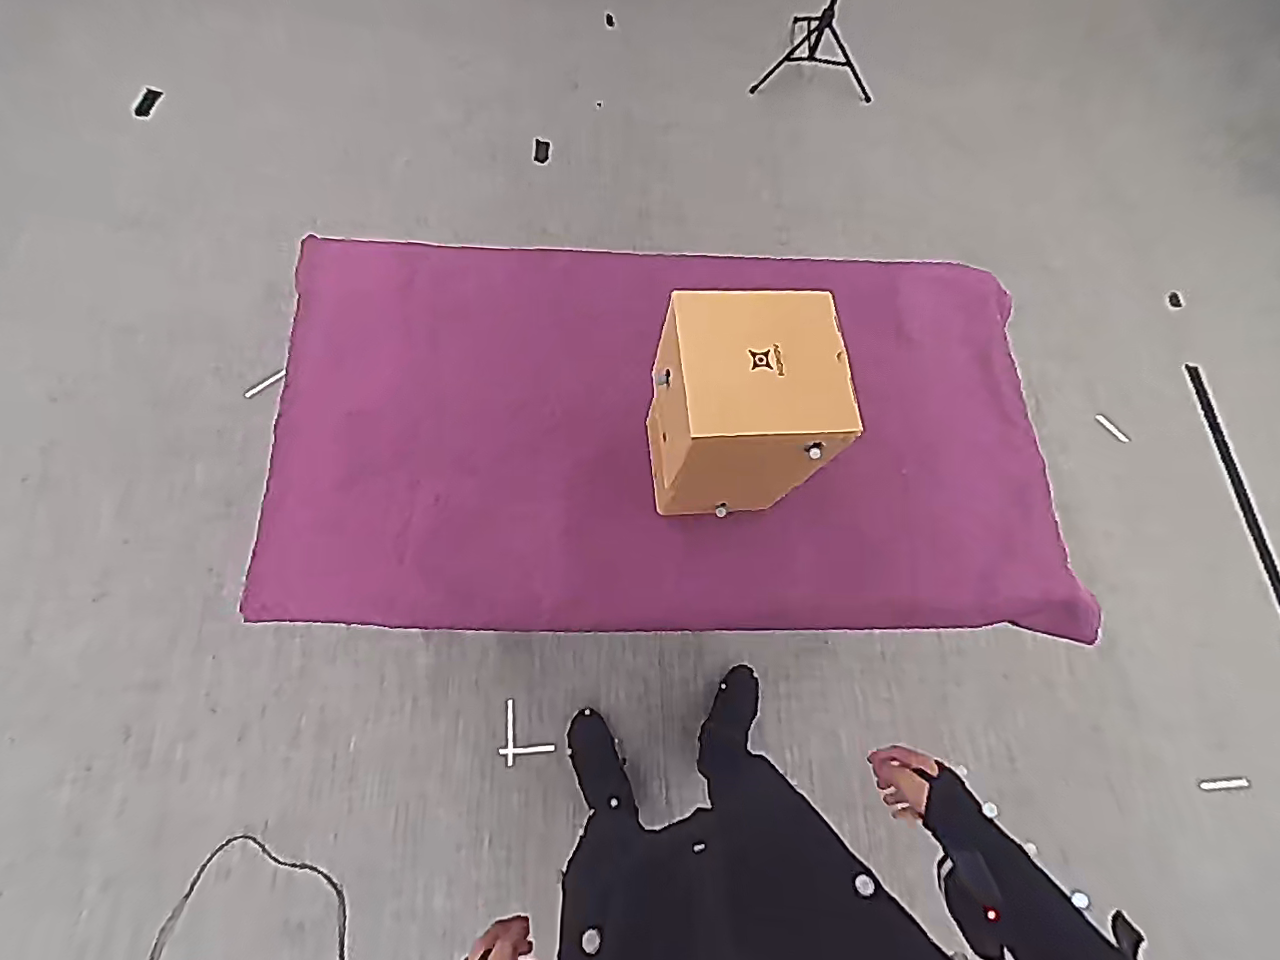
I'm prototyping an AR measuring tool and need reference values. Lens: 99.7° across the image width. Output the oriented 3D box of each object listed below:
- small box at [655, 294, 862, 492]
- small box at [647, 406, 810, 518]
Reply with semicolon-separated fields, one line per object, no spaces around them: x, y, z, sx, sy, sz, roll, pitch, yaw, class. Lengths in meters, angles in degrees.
0.115;-0.088;0.611;0.179;0.176;0.168;-3;72;-8;small box
0.114;-0.047;0.771;0.179;0.176;0.168;-3;71;-9;small box
